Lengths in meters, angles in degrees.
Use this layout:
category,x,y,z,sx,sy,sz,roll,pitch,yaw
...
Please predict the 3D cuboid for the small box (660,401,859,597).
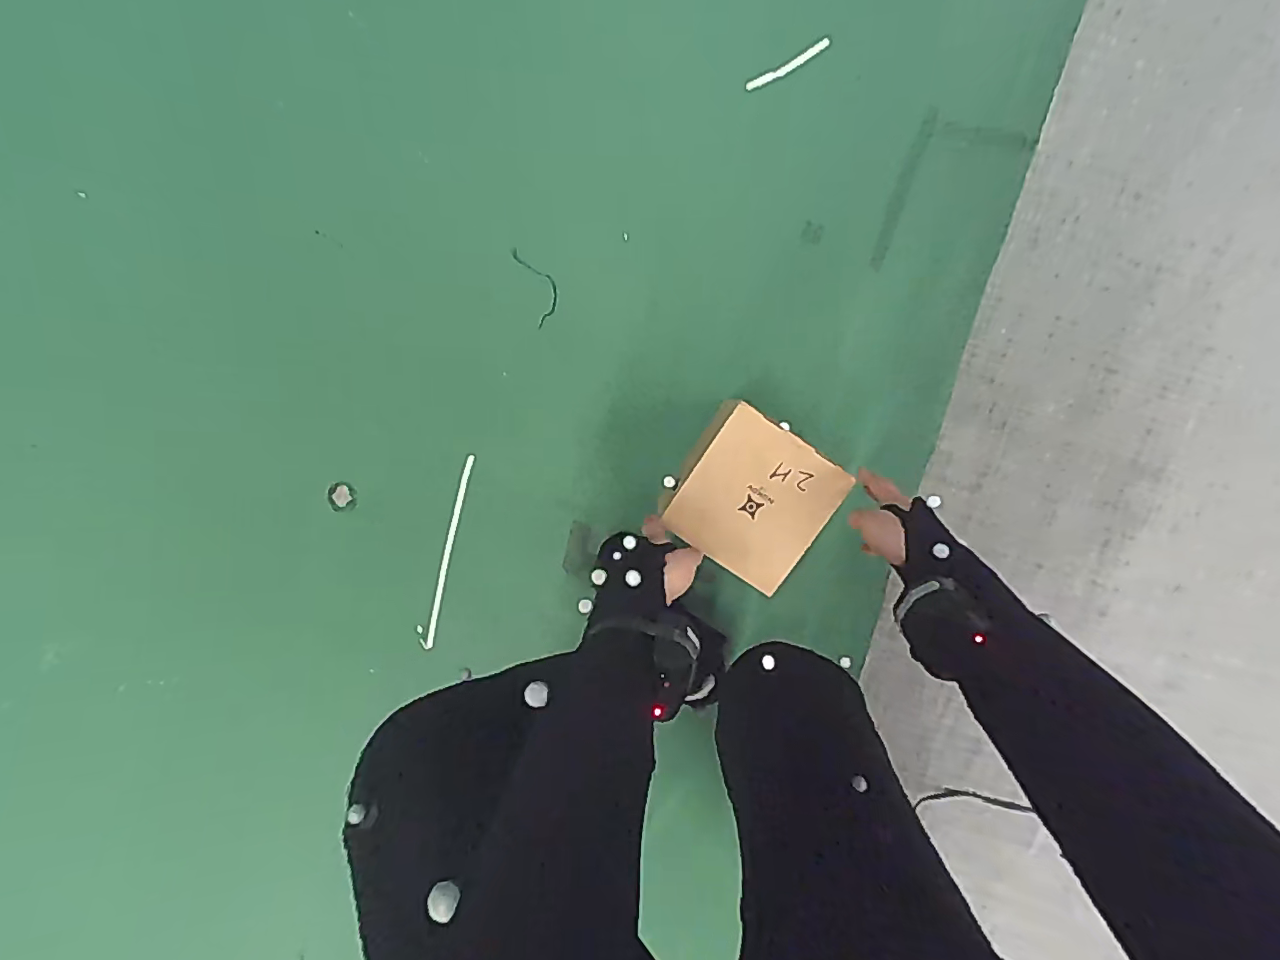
category,x,y,z,sx,sy,sz,roll,pitch,yaw
small box,0.141,0.015,0.702,0.168,0.176,0.179,34,97,-3
